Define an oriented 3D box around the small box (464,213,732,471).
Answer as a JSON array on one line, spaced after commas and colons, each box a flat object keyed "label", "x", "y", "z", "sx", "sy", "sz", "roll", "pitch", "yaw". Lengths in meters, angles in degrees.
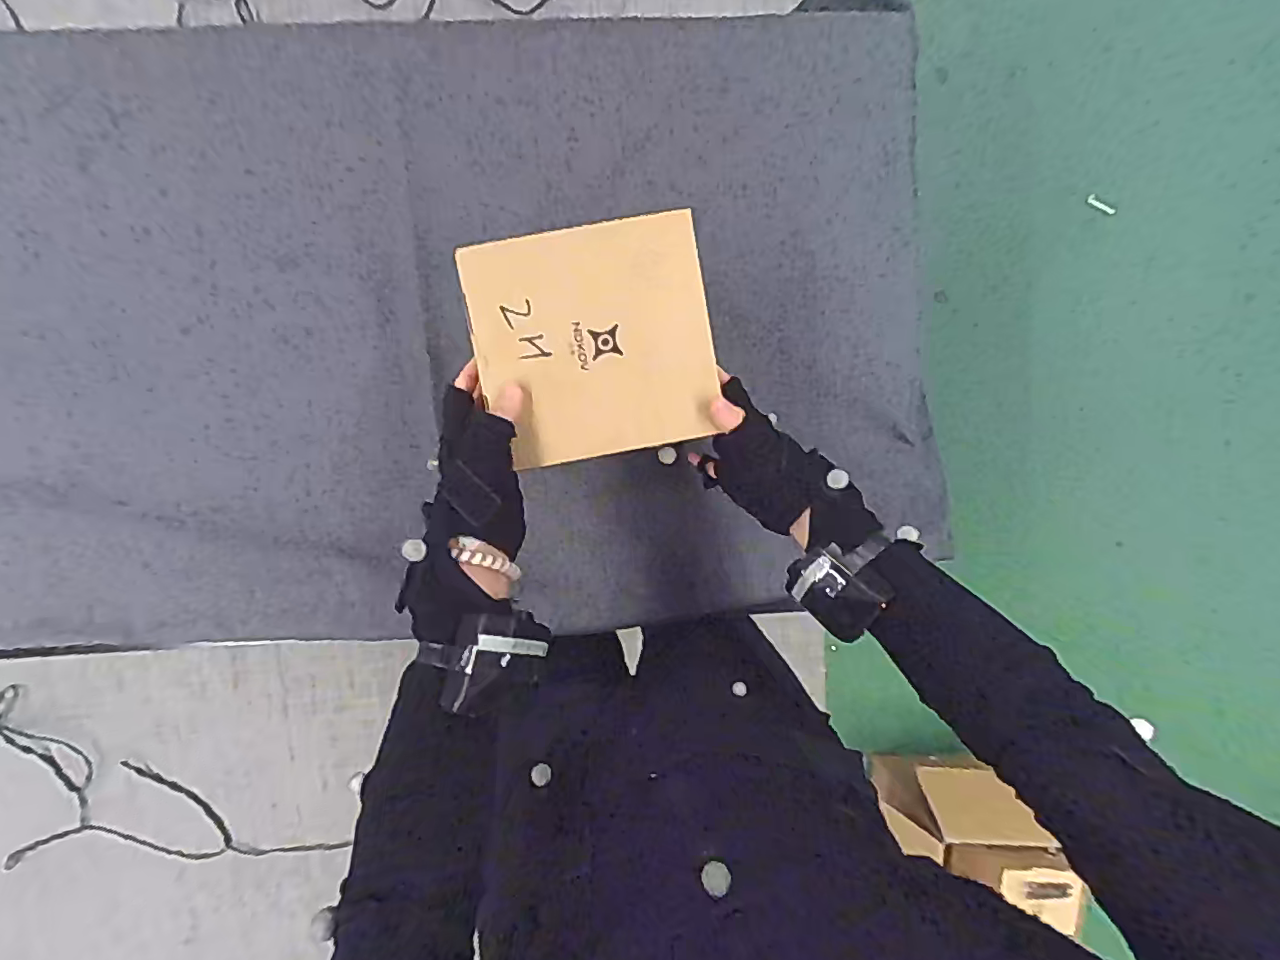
[{"label": "small box", "x": -0.032, "y": -0.108, "z": 0.476, "sx": 0.179, "sy": 0.176, "sz": 0.168, "roll": -10, "pitch": 95, "yaw": -1}]
